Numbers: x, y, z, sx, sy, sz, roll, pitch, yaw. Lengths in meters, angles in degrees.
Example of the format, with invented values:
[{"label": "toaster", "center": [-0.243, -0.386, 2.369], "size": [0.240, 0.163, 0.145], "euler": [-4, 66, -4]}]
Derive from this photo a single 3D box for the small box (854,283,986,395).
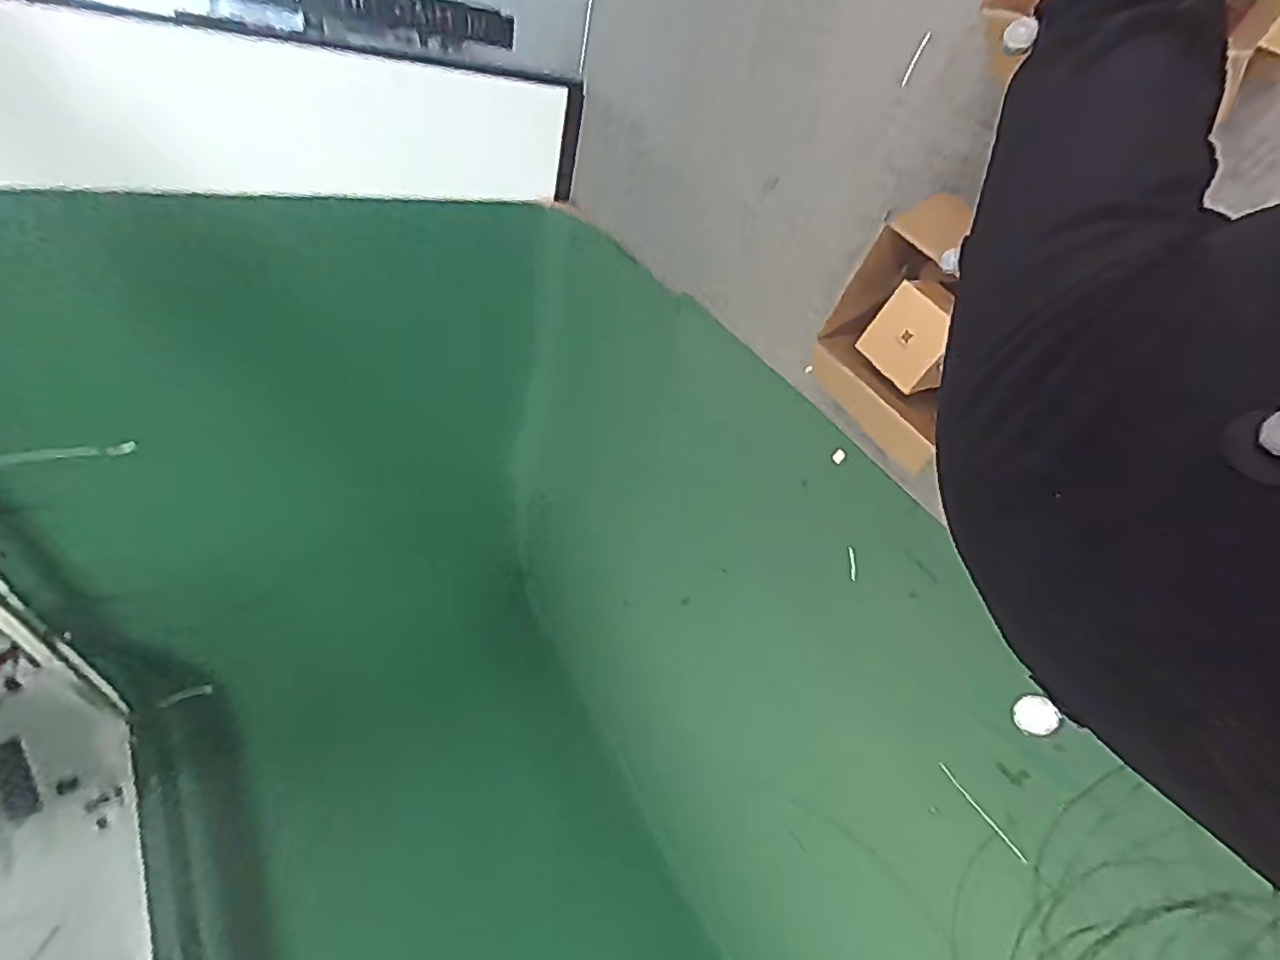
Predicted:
[{"label": "small box", "center": [0.623, -0.317, 1.193], "size": [0.168, 0.176, 0.179], "euler": [55, 141, 25]}]
